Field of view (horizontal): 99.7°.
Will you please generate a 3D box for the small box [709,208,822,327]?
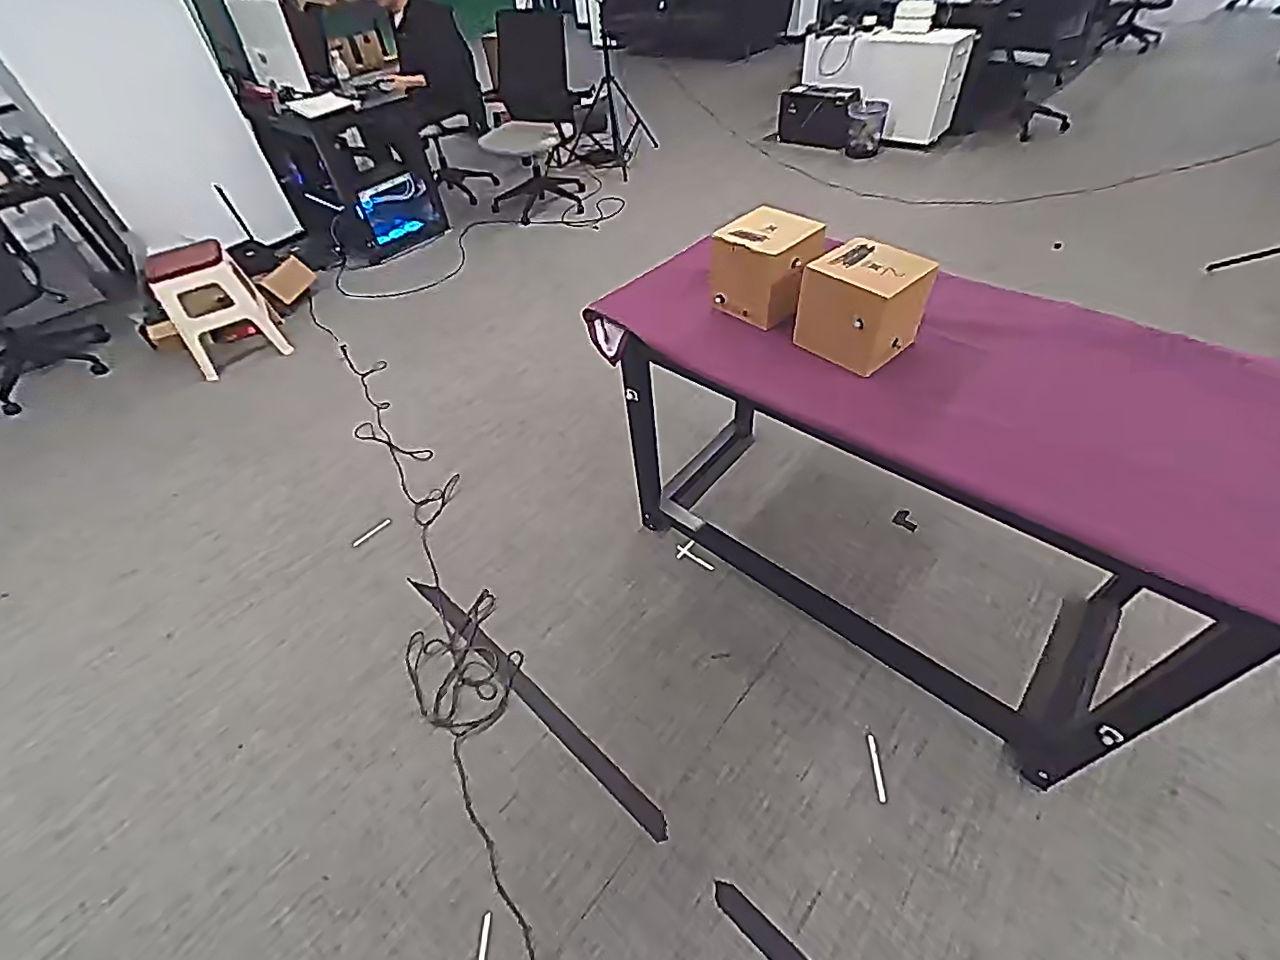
[{"bbox_3d":[0.269,-0.460,1.178,0.179,0.176,0.168,-36,54,-24],"label":"small box"}]
